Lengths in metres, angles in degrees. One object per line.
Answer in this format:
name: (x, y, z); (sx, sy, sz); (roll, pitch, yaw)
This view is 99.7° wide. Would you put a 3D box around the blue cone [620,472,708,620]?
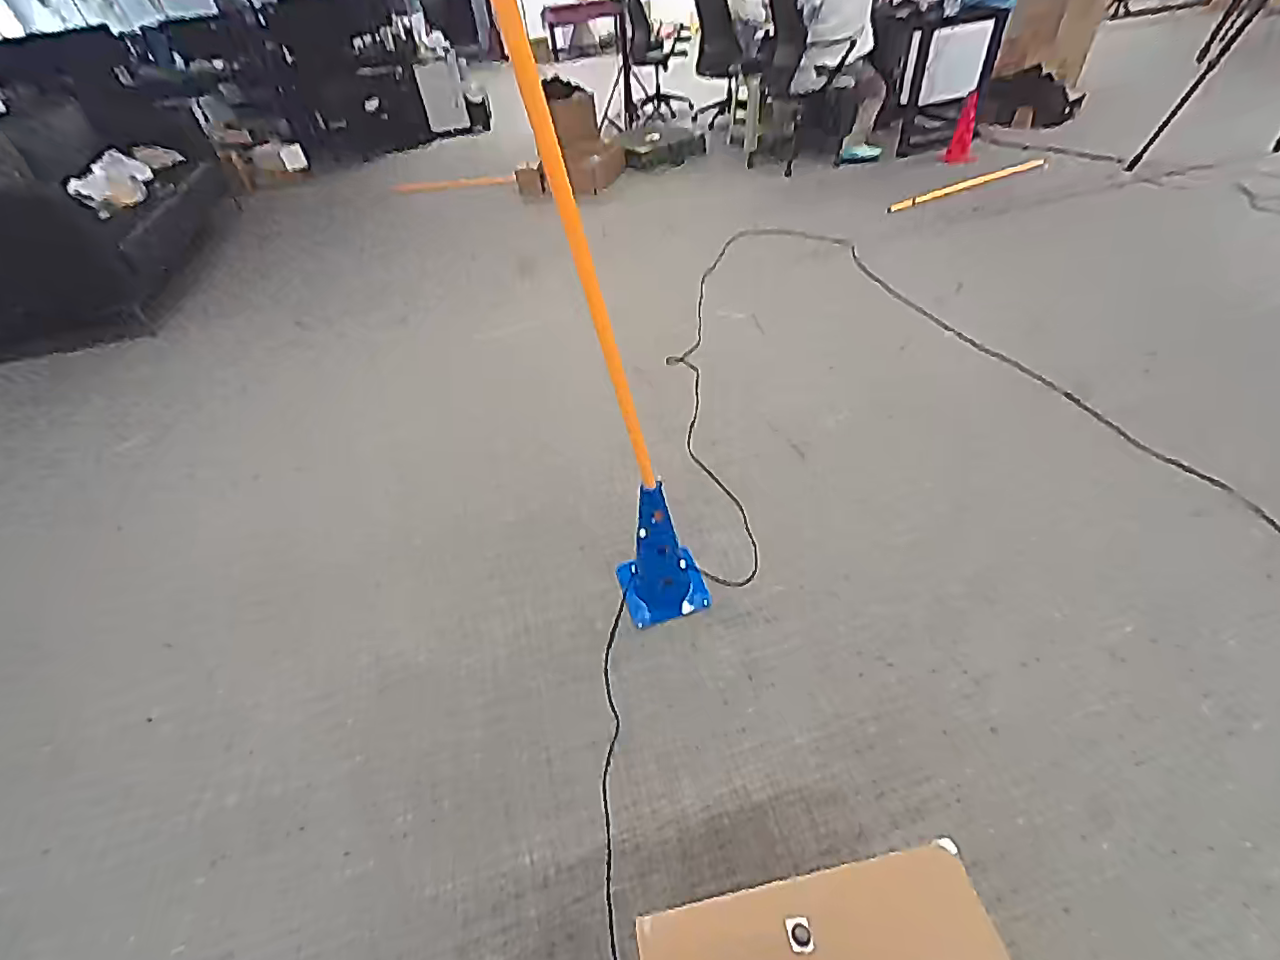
blue cone: (0.039, 0.134, 1.230); (0.193, 0.380, 0.192); (-19, 44, -9)
